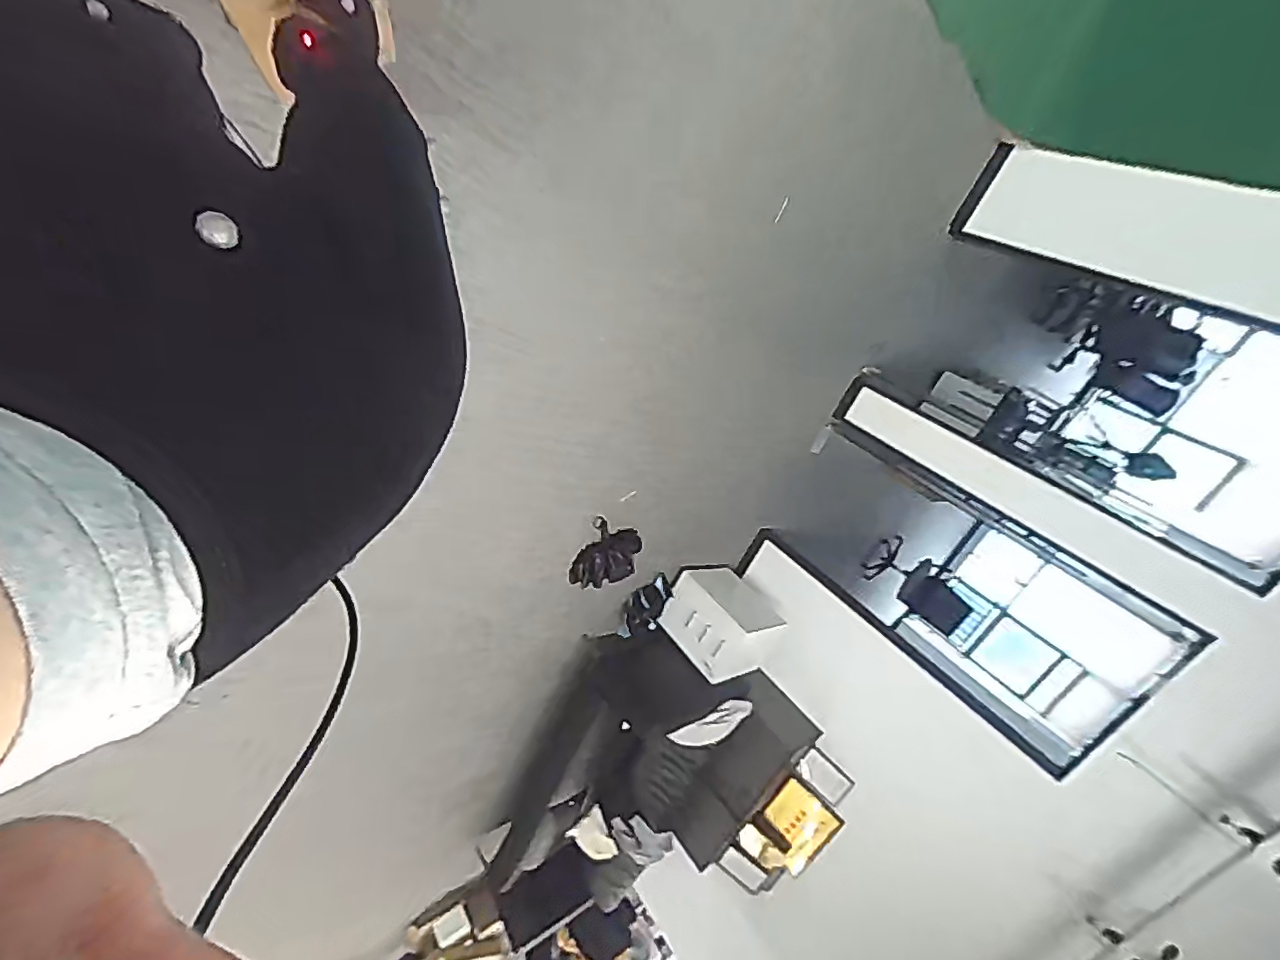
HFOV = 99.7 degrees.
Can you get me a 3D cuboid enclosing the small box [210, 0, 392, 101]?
[{"bbox_3d":[-0.410,-0.579,0.620,0.168,0.176,0.179,-33,104,-13],"label":"small box"}]
